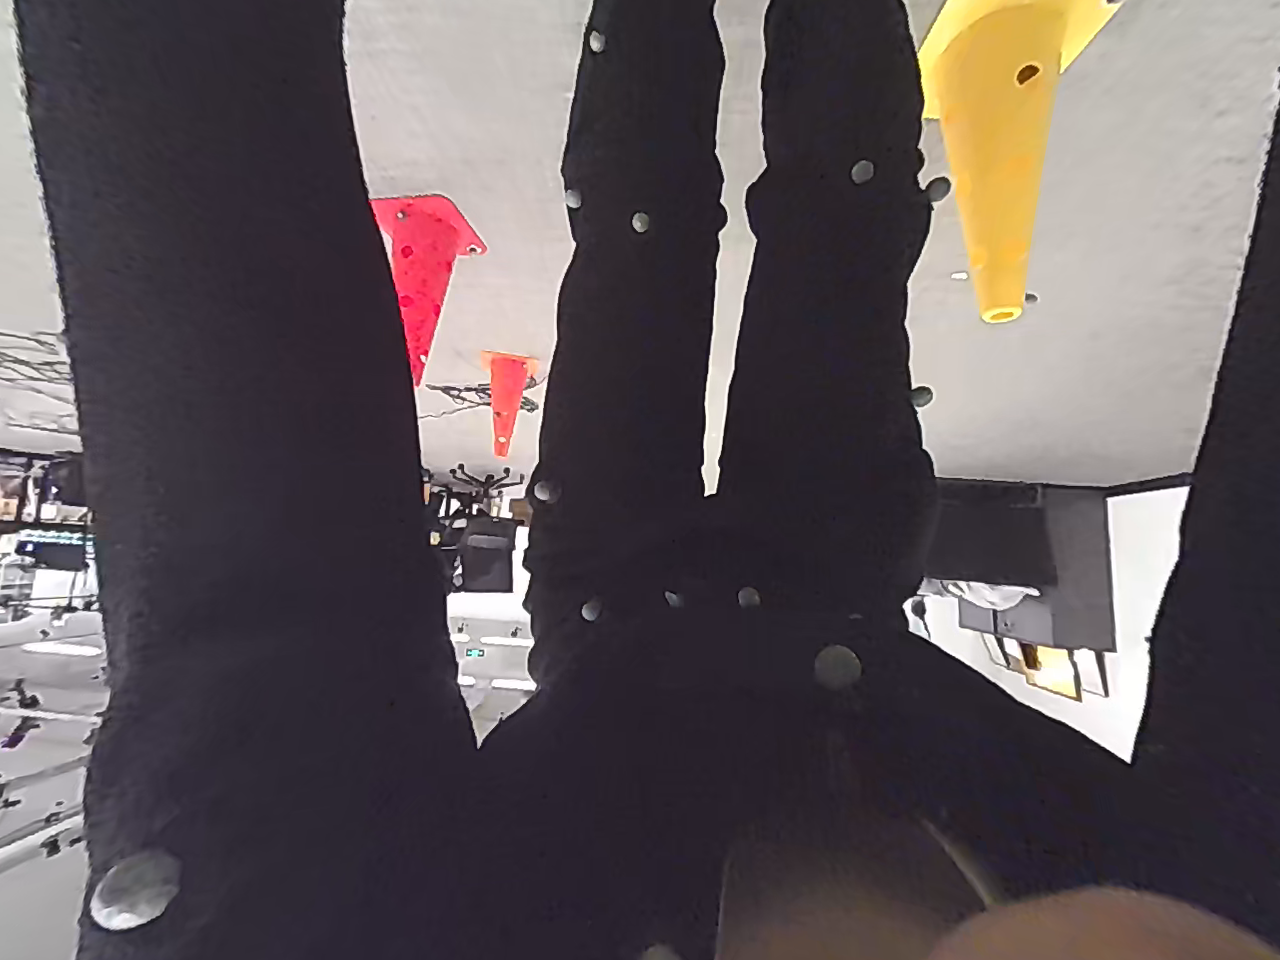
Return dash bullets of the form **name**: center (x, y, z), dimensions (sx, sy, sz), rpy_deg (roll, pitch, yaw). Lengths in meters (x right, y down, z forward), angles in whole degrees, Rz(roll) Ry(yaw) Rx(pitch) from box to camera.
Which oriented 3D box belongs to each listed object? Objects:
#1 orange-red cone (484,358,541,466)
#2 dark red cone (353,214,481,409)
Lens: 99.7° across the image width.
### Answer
- **orange-red cone**: center (-0.482, -0.229, 1.943), dimensions (0.199, 0.360, 0.198), rpy_deg (8, 169, -15)
- **dark red cone**: center (-0.477, -0.335, 1.114), dimensions (0.202, 0.394, 0.201), rpy_deg (2, 168, 11)
